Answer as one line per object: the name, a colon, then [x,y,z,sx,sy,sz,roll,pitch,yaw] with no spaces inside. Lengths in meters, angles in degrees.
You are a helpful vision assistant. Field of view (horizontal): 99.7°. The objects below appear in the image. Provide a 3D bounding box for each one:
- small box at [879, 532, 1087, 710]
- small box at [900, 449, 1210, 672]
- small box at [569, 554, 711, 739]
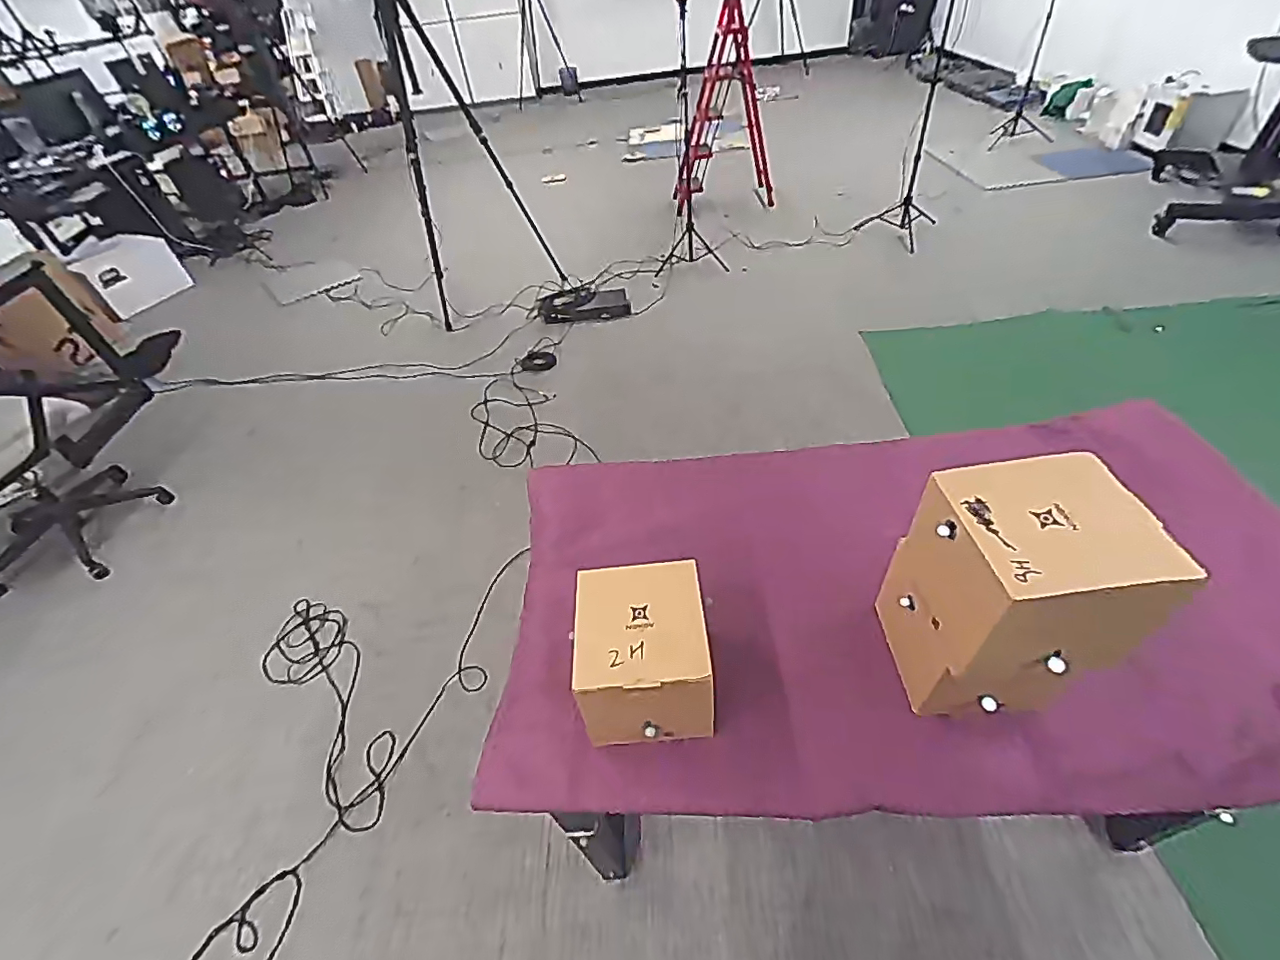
small box: [0.436,0.184,0.716,0.168,0.176,0.179,-4,45,4]
small box: [0.412,0.089,0.581,0.179,0.176,0.168,-6,45,2]
small box: [0.004,0.225,0.733,0.168,0.176,0.179,-6,44,3]
